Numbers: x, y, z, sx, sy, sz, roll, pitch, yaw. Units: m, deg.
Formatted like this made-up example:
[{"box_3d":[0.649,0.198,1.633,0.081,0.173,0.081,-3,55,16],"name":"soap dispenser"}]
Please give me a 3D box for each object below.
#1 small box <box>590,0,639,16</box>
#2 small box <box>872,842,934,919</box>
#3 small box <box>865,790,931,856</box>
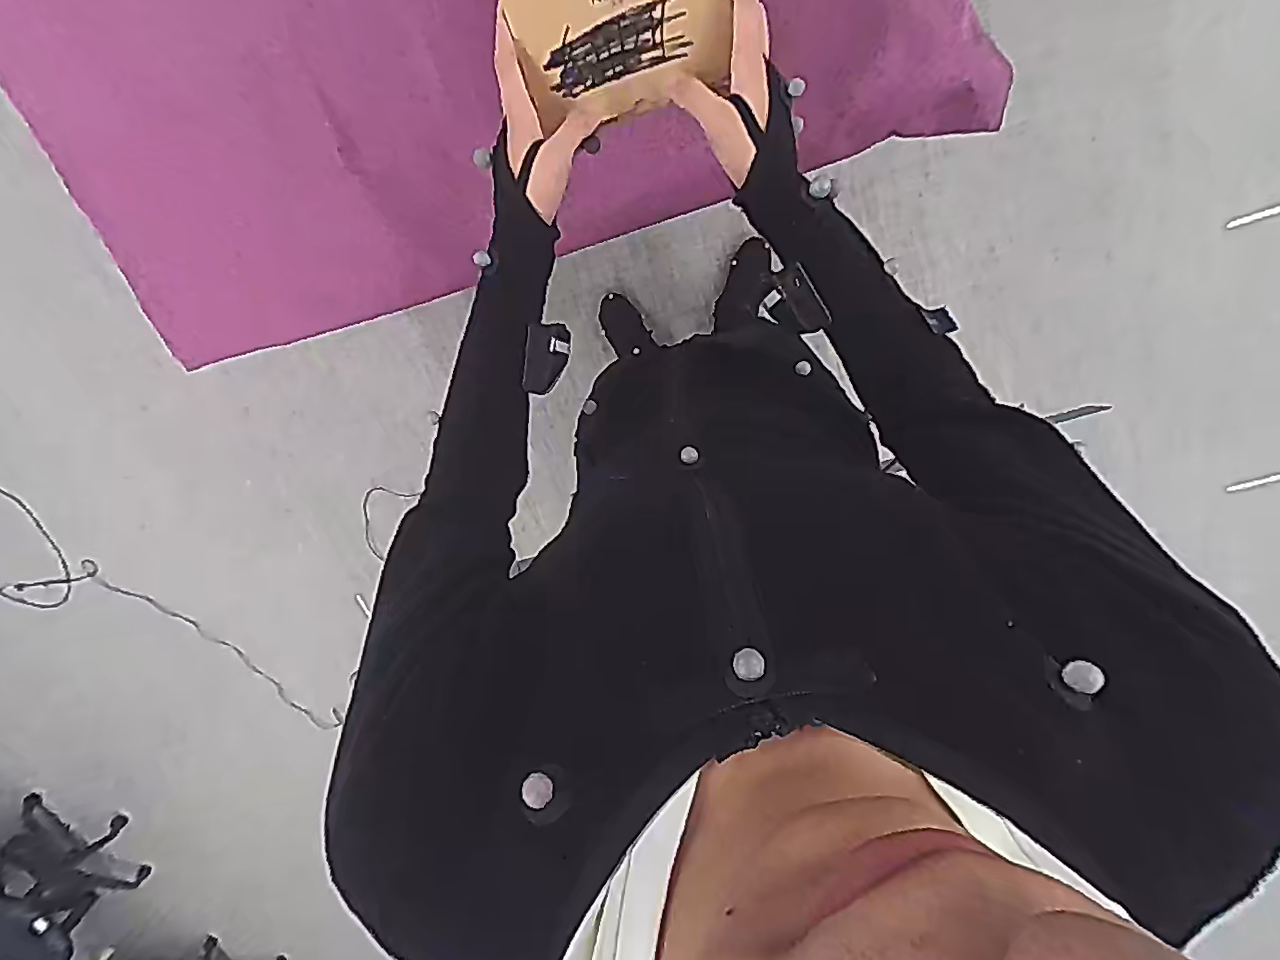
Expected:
[{"box_3d":[-0.002,-0.637,0.555,0.179,0.176,0.168,-20,111,10],"name":"small box"},{"box_3d":[1.012,1.540,2.083,0.168,0.176,0.179,-14,112,7],"name":"small box"},{"box_3d":[1.047,1.409,2.202,0.168,0.176,0.179,-28,110,12],"name":"small box"}]
